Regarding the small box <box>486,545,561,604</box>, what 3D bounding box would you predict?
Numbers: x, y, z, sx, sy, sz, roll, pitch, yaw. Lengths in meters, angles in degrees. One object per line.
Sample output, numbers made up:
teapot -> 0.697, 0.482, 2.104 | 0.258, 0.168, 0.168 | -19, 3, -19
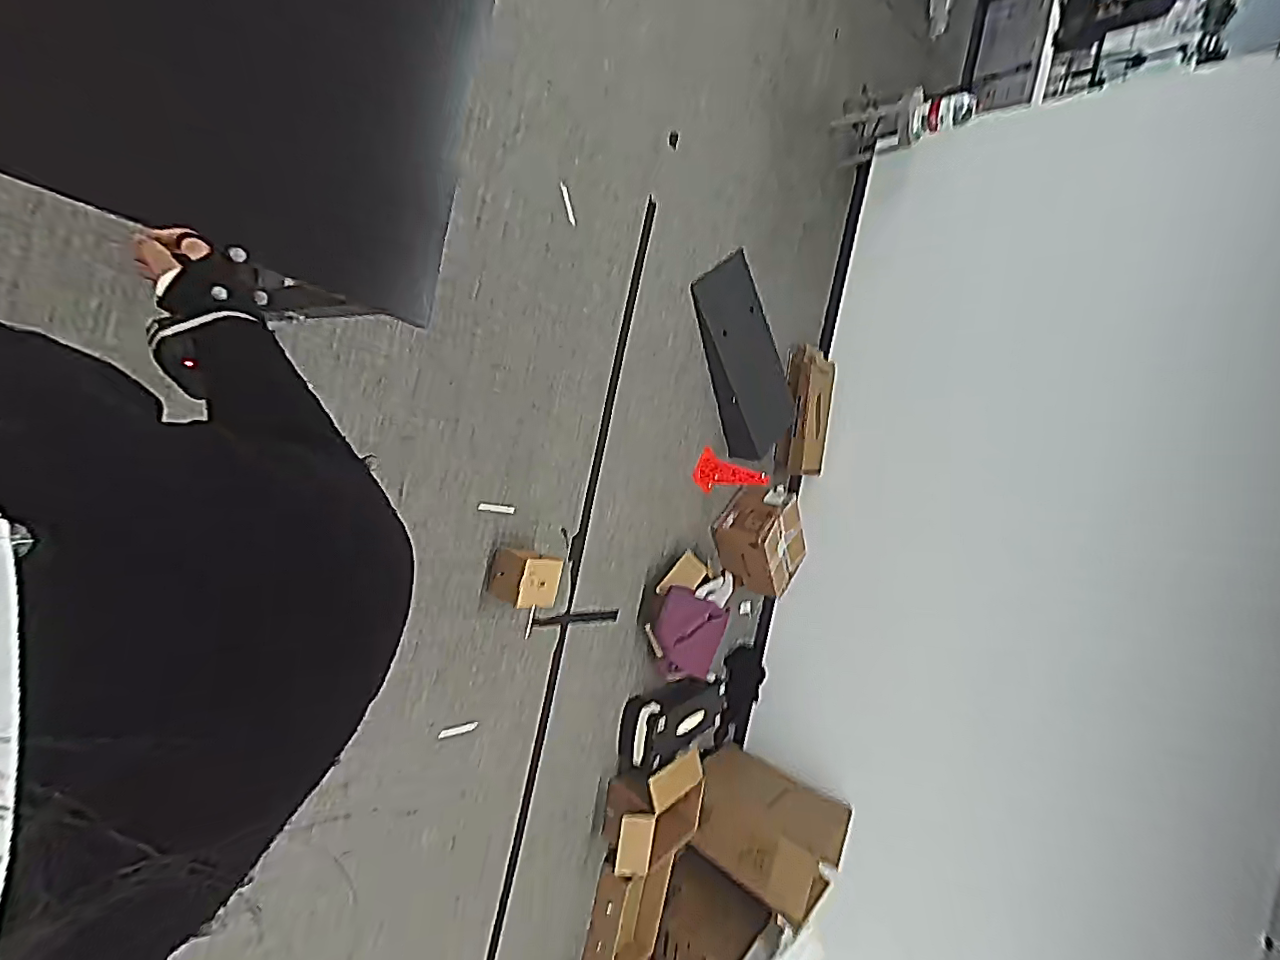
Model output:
small box -> -0.412, 0.331, 1.912 | 0.179, 0.176, 0.168 | 14, 89, -51
